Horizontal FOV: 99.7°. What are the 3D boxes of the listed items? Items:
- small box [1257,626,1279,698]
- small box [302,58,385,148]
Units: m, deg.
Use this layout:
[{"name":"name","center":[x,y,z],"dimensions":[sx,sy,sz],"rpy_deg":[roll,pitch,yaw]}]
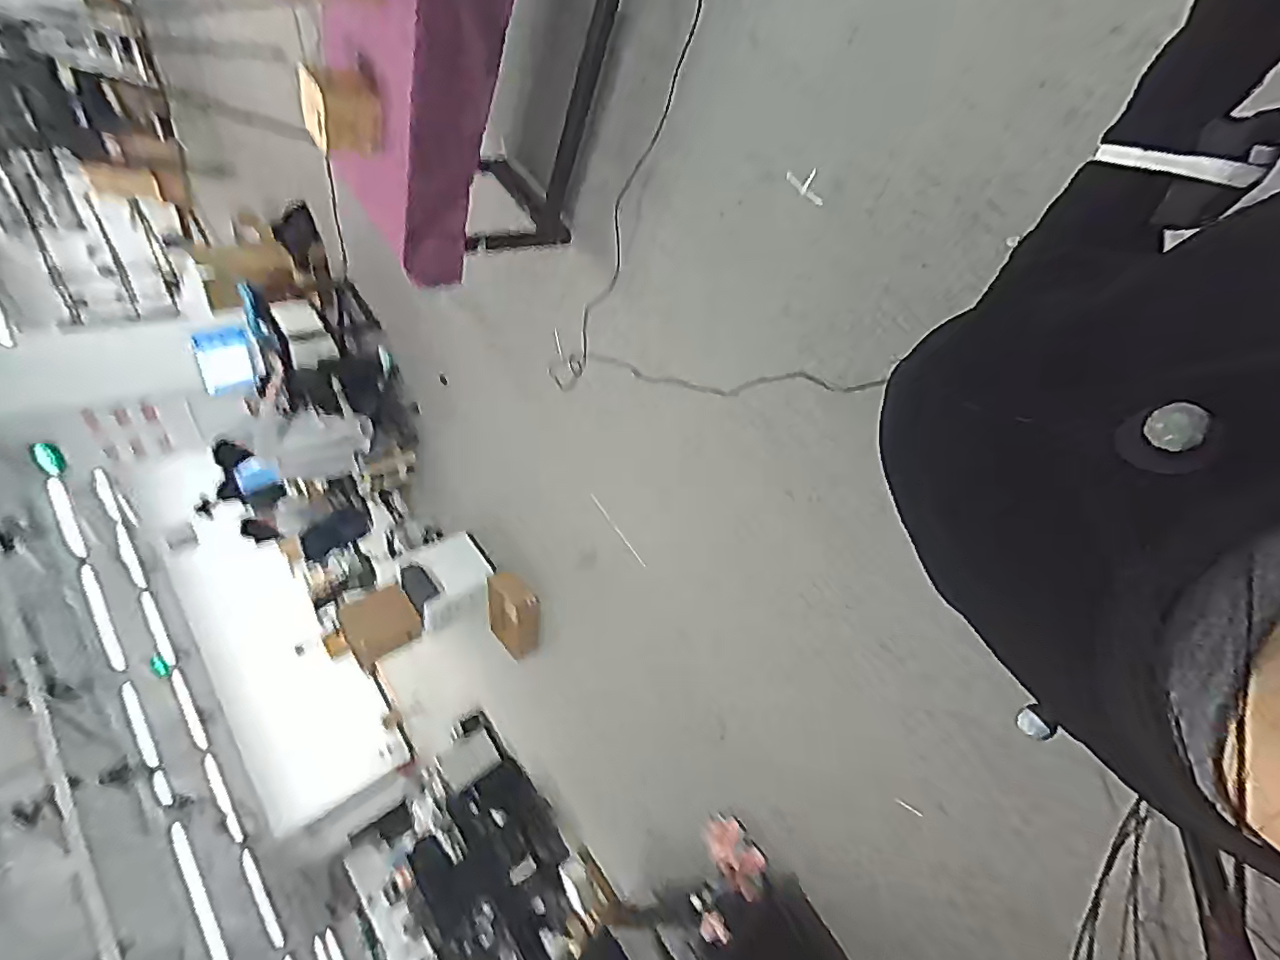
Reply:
[{"name":"small box","center":[1.323,0.370,1.003],"dimensions":[0.179,0.176,0.168],"rpy_deg":[54,142,16]},{"name":"small box","center":[-0.896,-1.142,1.646],"dimensions":[0.179,0.176,0.168],"rpy_deg":[53,141,17]}]
